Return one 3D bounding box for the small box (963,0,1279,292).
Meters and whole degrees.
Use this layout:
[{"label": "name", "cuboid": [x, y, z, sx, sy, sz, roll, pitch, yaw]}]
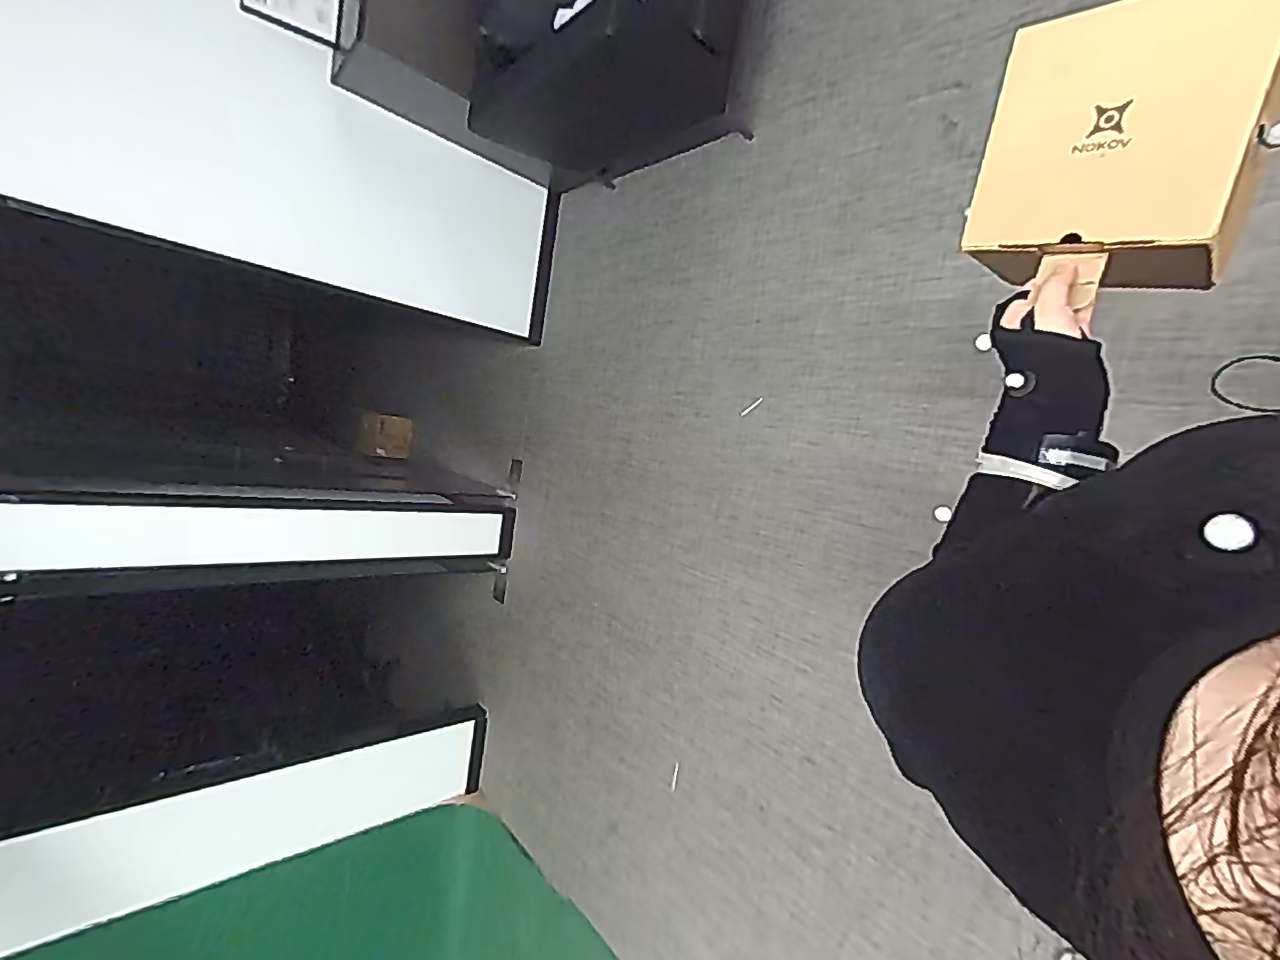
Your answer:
[{"label": "small box", "cuboid": [0.418, -0.273, 0.473, 0.168, 0.176, 0.179, 22, 110, 43]}]
